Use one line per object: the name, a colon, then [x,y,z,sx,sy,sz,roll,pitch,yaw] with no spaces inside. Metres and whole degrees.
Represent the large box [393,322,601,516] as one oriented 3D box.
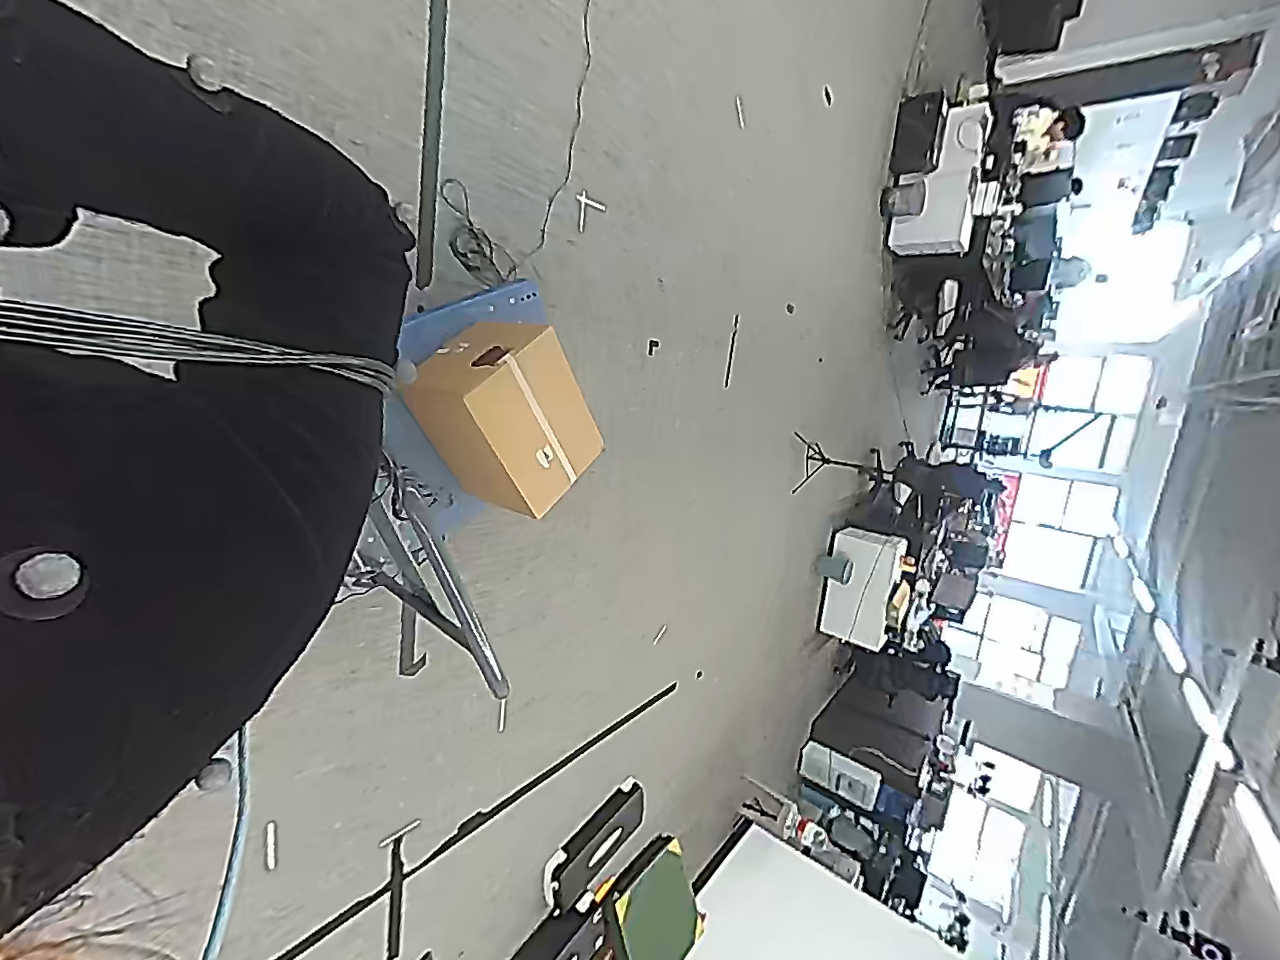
large box: [-0.371,-0.171,1.466,0.320,0.320,0.408,-50,137,-30]
